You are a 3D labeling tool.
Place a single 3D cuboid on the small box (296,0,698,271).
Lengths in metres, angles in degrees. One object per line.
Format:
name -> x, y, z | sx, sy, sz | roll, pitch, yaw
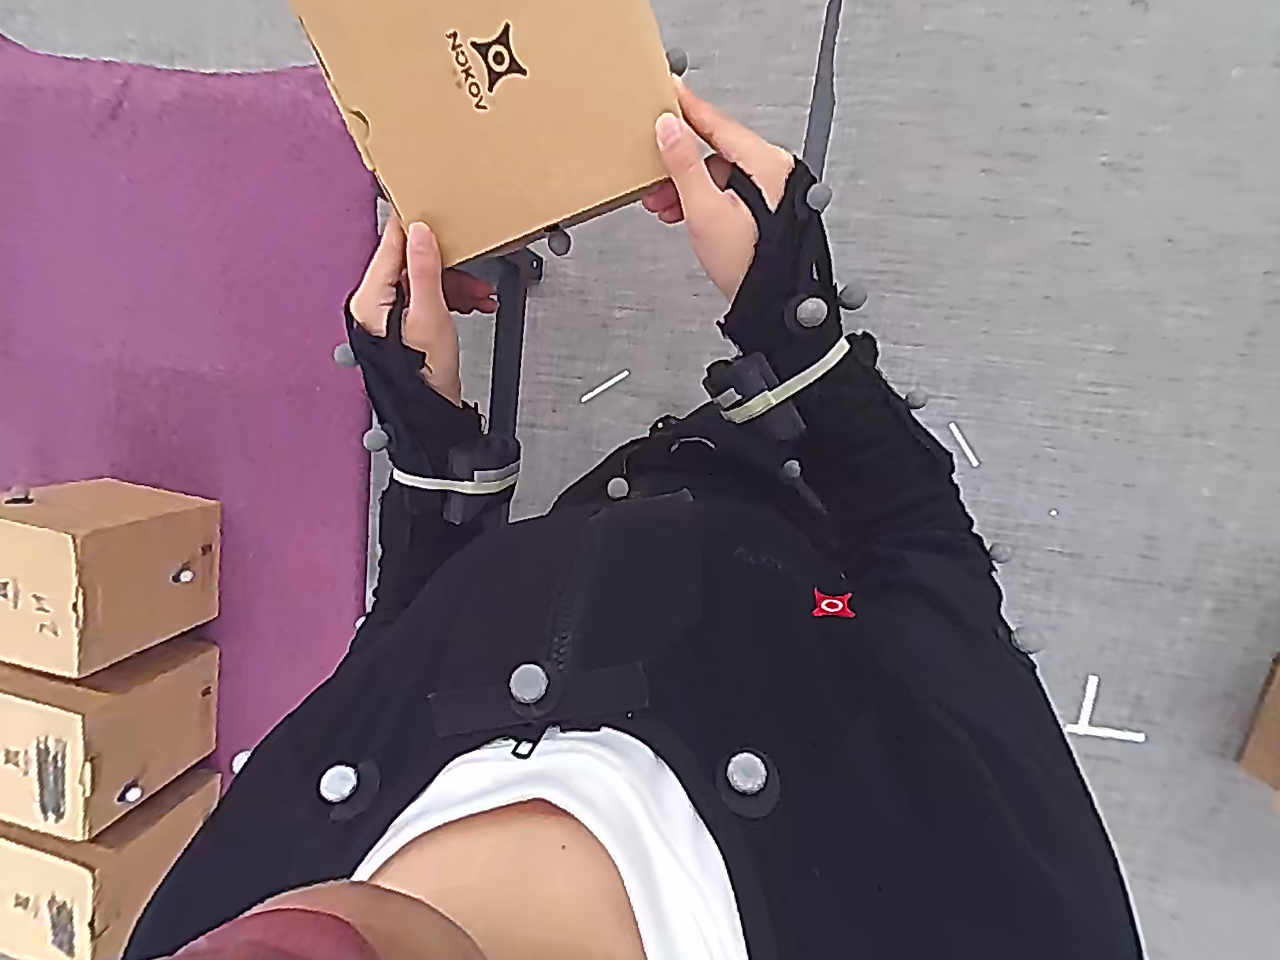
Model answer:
small box -> -0.071, -0.255, 0.353 | 0.179, 0.176, 0.168 | -16, 114, 12
